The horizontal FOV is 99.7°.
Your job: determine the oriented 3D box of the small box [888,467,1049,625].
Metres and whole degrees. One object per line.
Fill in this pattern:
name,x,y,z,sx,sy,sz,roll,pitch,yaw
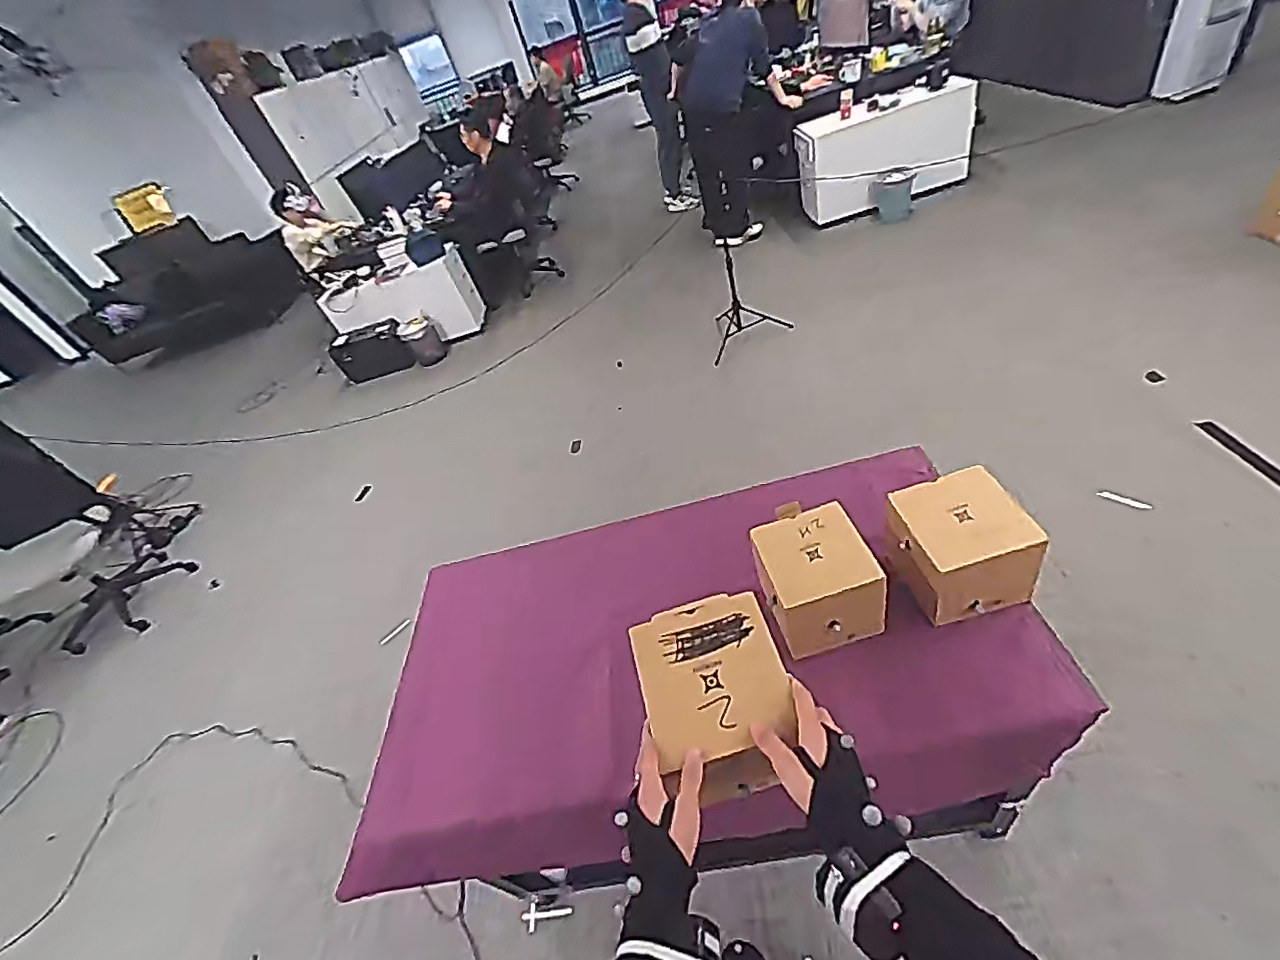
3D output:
small box,0.539,0.113,0.917,0.168,0.176,0.179,-19,41,6

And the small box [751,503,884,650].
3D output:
small box,0.311,0.176,0.948,0.168,0.176,0.179,-19,41,4
